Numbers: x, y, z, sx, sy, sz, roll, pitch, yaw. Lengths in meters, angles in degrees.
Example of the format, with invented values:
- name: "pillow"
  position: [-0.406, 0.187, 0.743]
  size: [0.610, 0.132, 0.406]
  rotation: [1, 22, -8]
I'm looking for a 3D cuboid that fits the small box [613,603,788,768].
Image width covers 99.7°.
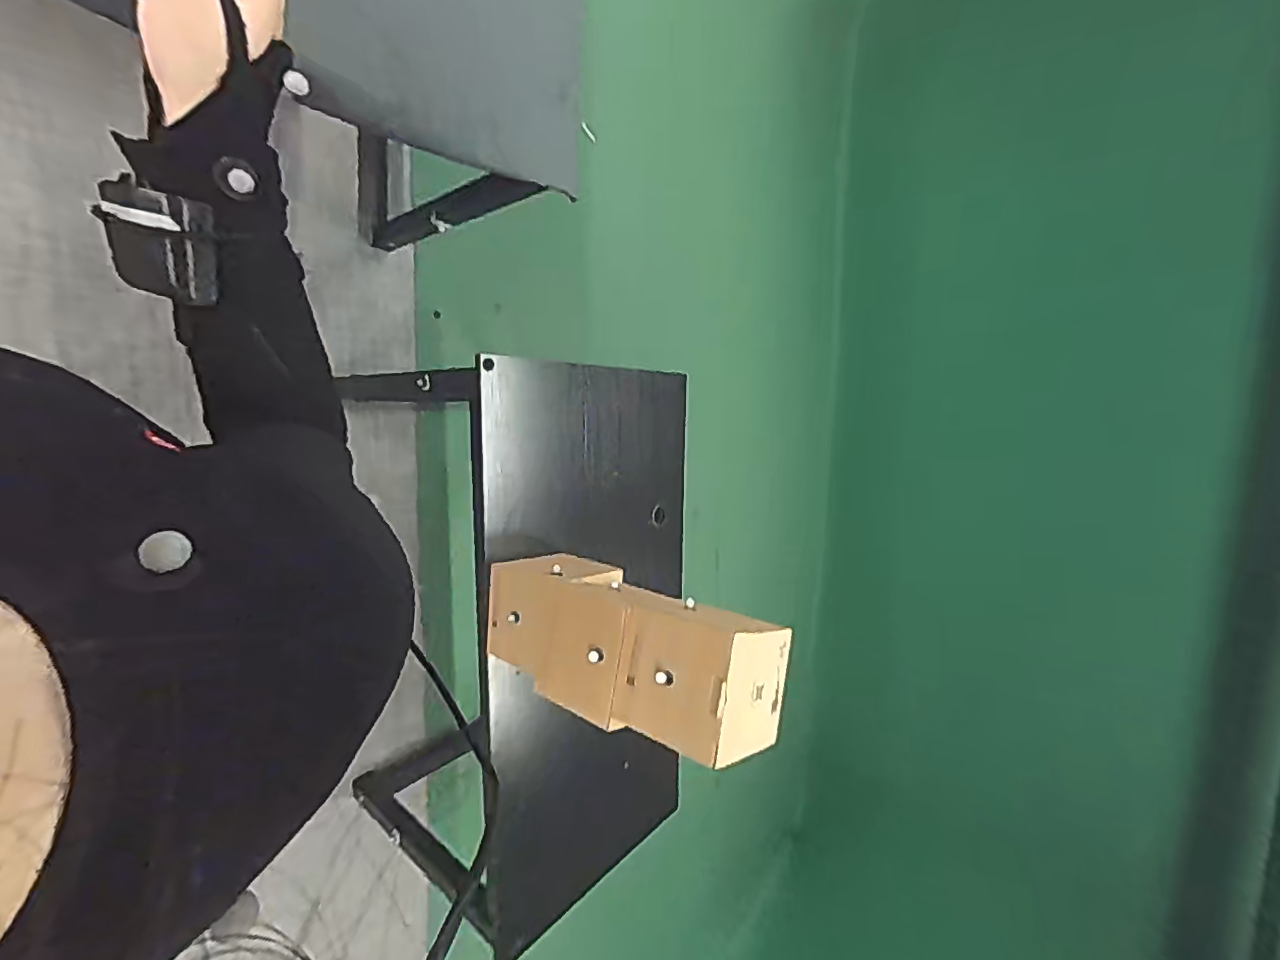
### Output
- name: "small box"
  position: [0.086, 0.276, 0.767]
  size: [0.179, 0.176, 0.168]
  rotation: [16, 83, -49]

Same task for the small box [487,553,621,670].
- name: "small box"
  position: [-0.158, 0.234, 0.980]
  size: [0.179, 0.176, 0.168]
  rotation: [0, 97, -50]

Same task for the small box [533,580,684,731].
- name: "small box"
  position: [-0.049, 0.266, 0.861]
  size: [0.168, 0.176, 0.179]
  rotation: [12, 87, -50]
